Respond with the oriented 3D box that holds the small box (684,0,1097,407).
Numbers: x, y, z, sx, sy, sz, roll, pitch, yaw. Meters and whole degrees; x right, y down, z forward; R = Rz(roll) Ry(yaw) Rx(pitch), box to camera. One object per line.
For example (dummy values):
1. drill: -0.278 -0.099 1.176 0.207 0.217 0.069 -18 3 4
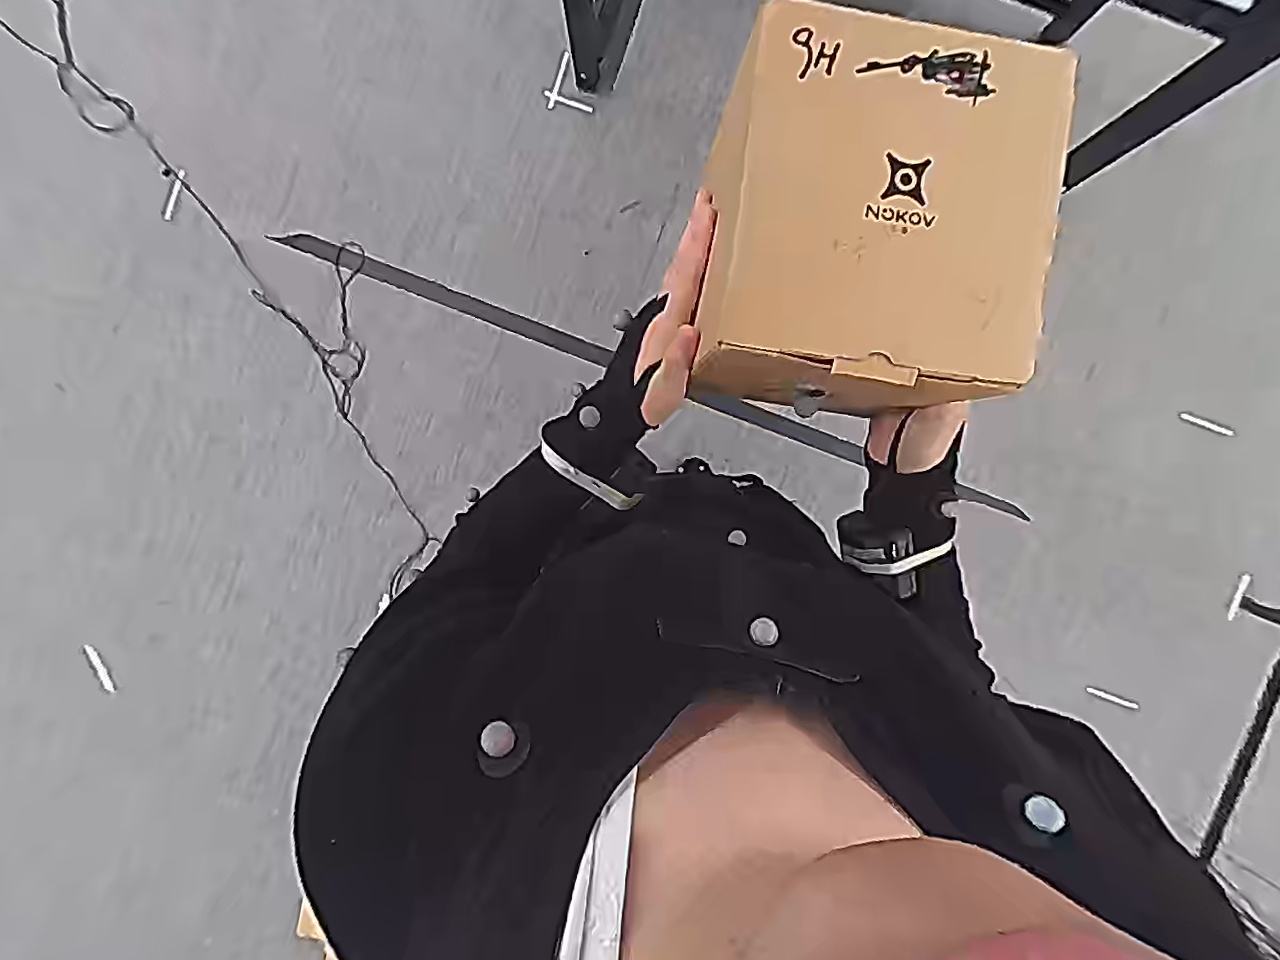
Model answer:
1. small box: 0.128 -0.146 0.345 0.168 0.176 0.179 8 92 -5
